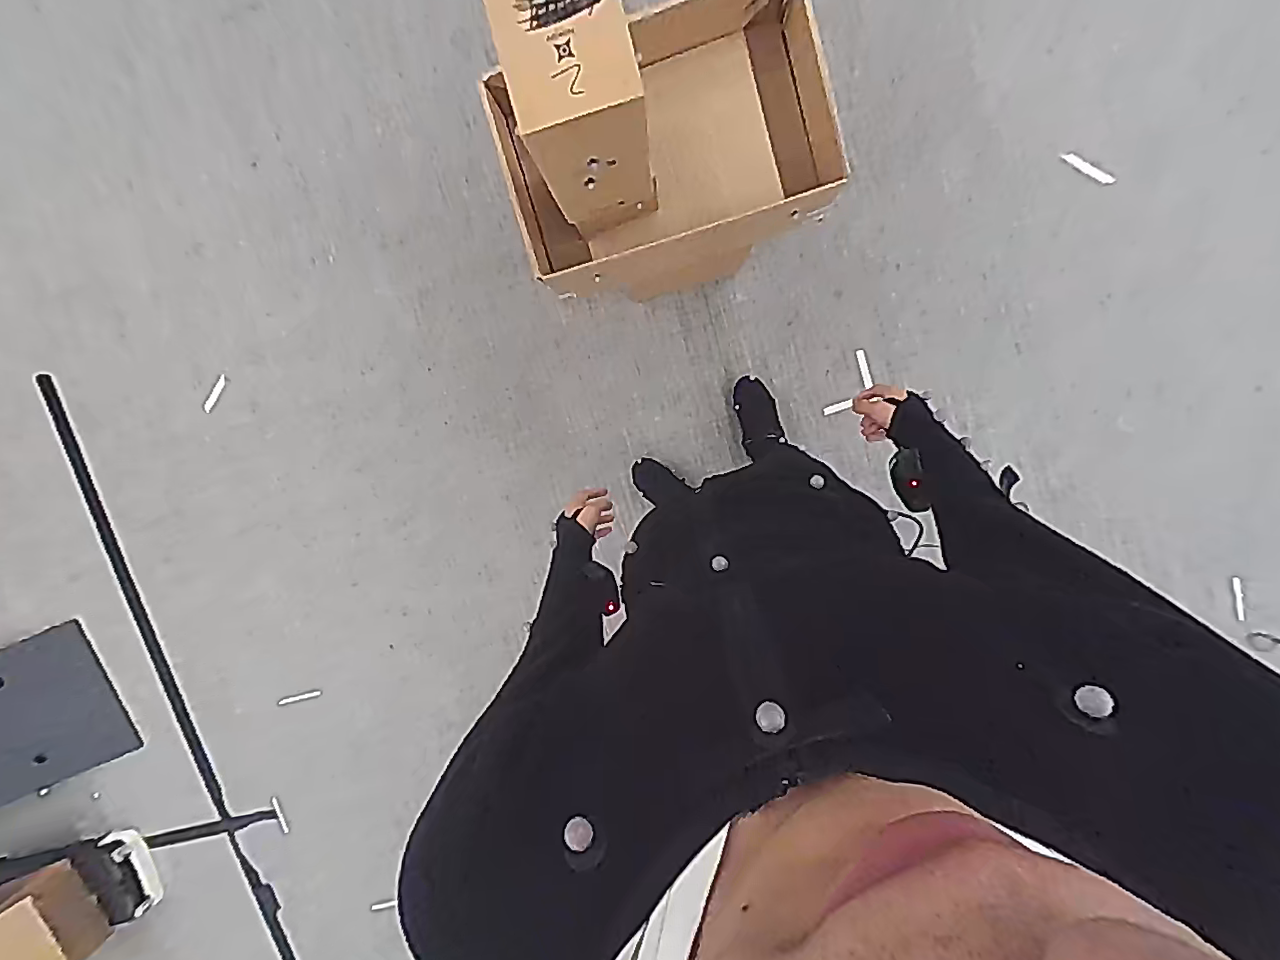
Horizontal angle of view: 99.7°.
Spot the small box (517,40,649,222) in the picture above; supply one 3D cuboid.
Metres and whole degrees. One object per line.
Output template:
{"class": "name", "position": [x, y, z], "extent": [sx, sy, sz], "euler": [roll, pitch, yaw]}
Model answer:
{"class": "small box", "position": [-0.086, -0.568, 0.905], "extent": [0.168, 0.176, 0.179], "euler": [-15, 95, 6]}

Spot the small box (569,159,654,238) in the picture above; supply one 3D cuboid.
{"class": "small box", "position": [-0.080, -0.608, 1.064], "extent": [0.179, 0.176, 0.168], "euler": [-21, 95, 7]}
